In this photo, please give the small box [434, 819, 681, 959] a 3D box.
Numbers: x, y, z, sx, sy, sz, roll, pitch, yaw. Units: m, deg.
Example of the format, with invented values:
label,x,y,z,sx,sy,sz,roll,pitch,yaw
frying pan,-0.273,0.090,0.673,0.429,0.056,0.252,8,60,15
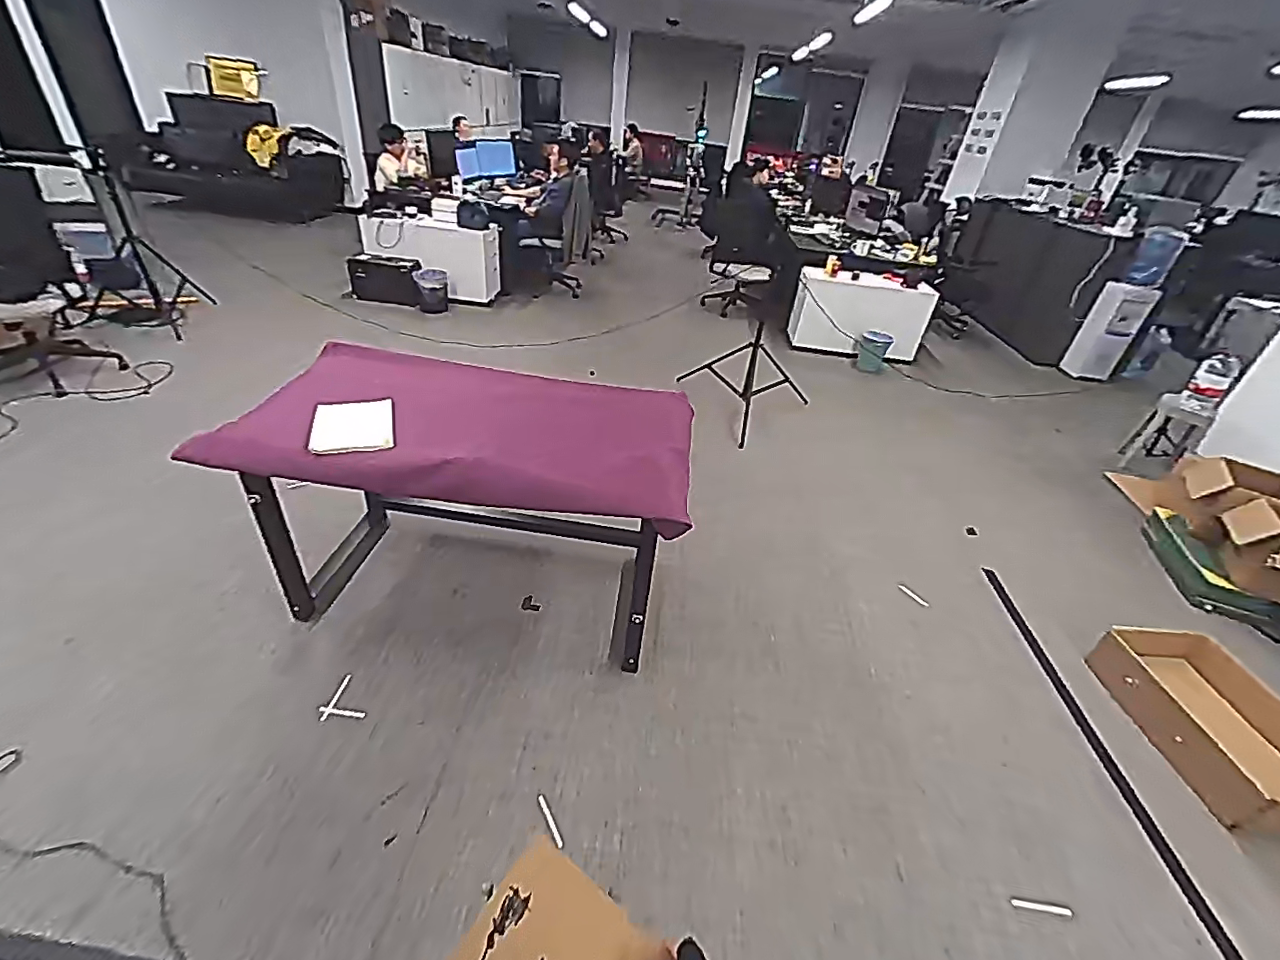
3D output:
label,x,y,z,sx,sy,sz,roll,pitch,yaw
small box,-0.088,0.471,0.538,0.179,0.176,0.168,36,57,13
